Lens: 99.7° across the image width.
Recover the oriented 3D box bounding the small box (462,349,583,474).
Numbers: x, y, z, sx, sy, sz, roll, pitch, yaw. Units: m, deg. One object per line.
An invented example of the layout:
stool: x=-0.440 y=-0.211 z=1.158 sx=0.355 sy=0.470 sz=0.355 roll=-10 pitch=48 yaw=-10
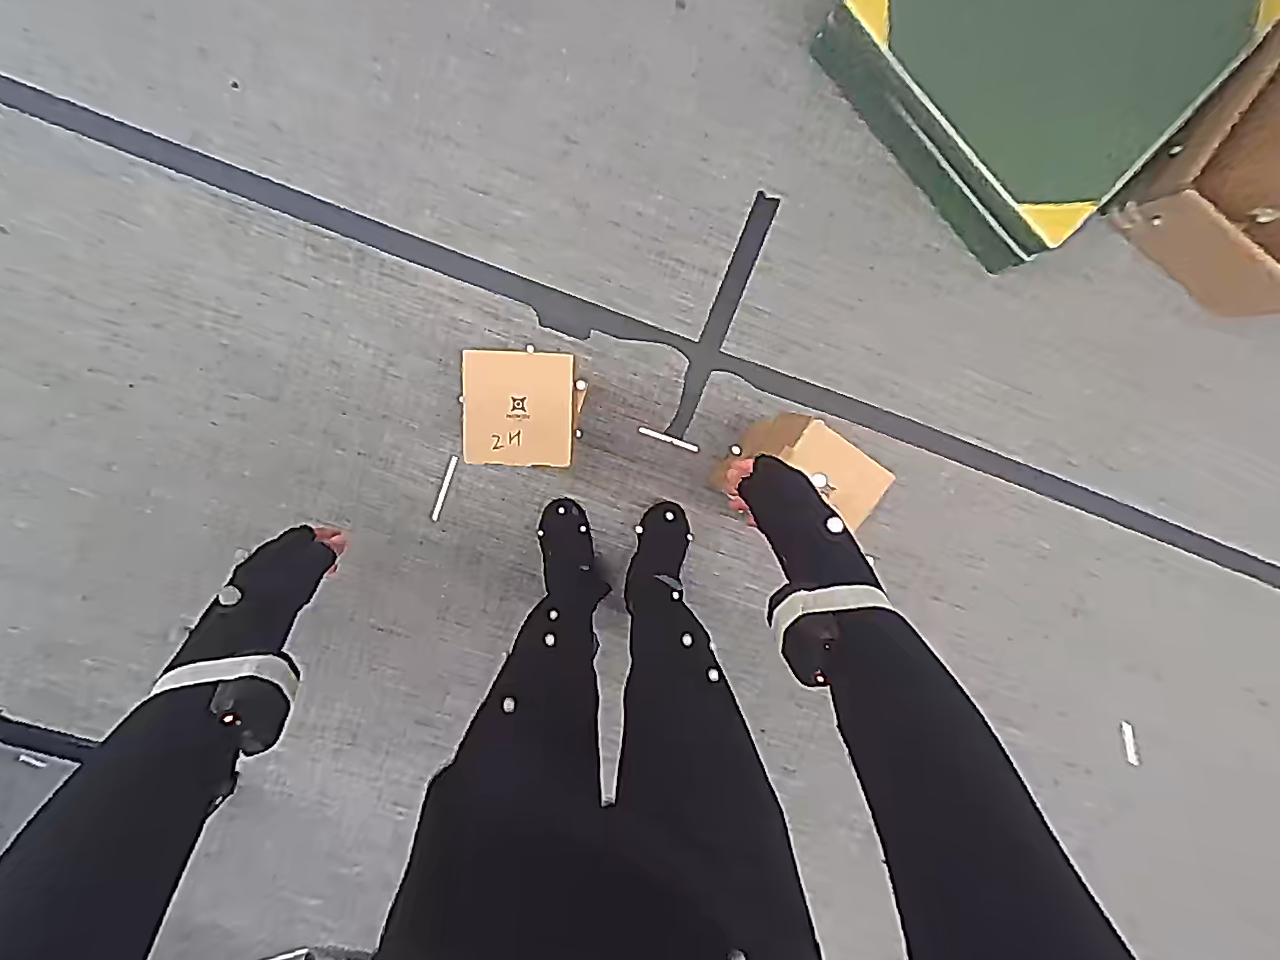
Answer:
small box: x=-0.186 y=-0.117 z=0.899 sx=0.168 sy=0.176 sz=0.179 roll=6 pitch=102 yaw=-3

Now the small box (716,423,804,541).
small box: x=0.280 y=-0.004 z=1.114 sx=0.179 sy=0.176 sz=0.168 roll=36 pitch=96 yaw=-10

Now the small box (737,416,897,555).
small box: x=0.296 y=-0.001 z=0.948 sx=0.179 sy=0.176 sz=0.168 roll=34 pitch=97 yaw=-10
